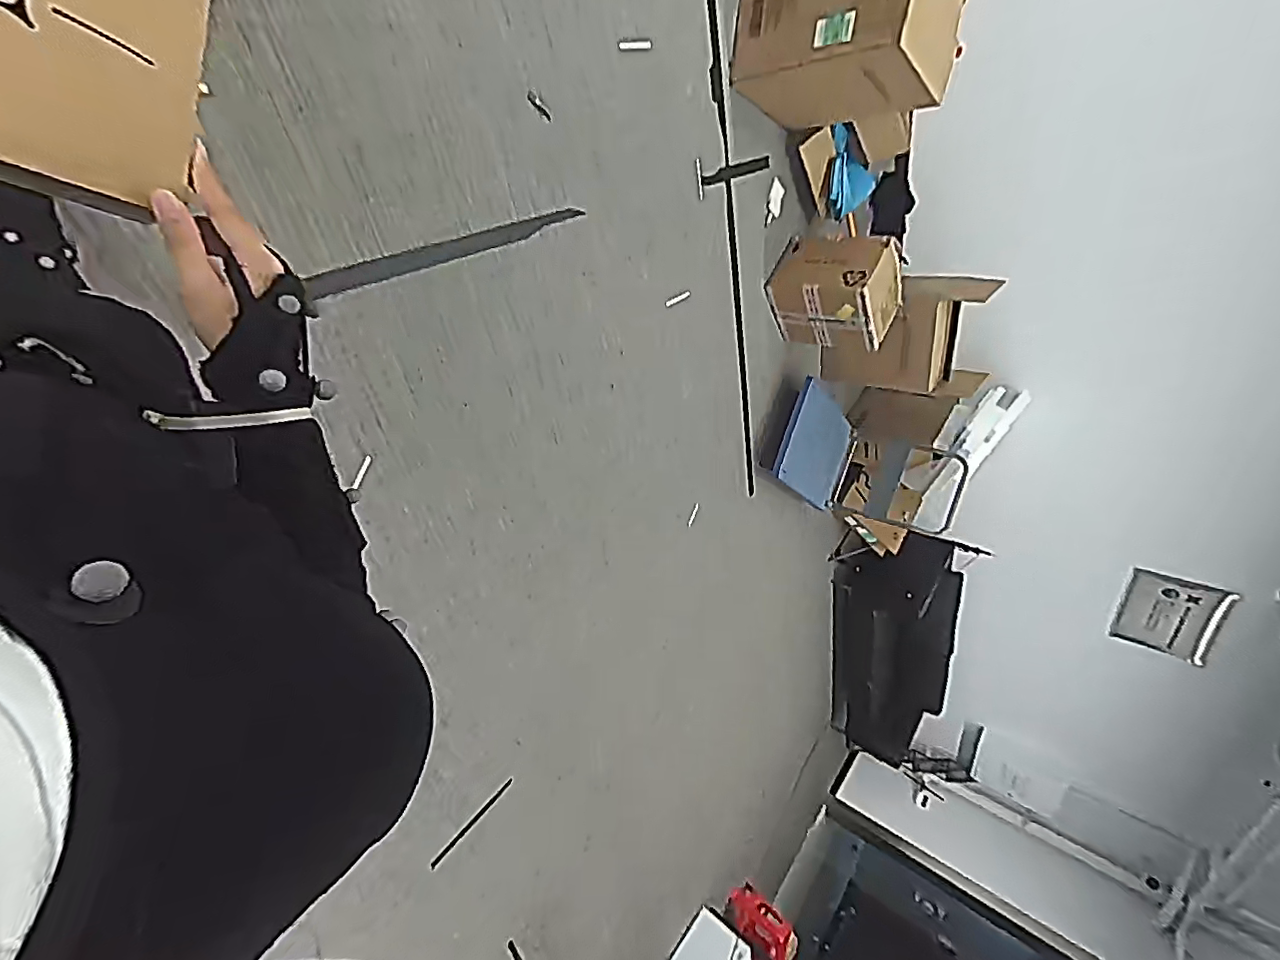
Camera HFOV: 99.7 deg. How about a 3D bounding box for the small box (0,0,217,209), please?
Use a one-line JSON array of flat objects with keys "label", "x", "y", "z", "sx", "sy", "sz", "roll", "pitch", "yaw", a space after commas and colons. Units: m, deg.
[{"label": "small box", "x": -0.374, "y": -0.271, "z": 0.310, "sx": 0.179, "sy": 0.176, "sz": 0.168, "roll": 5, "pitch": 103, "yaw": -50}]
